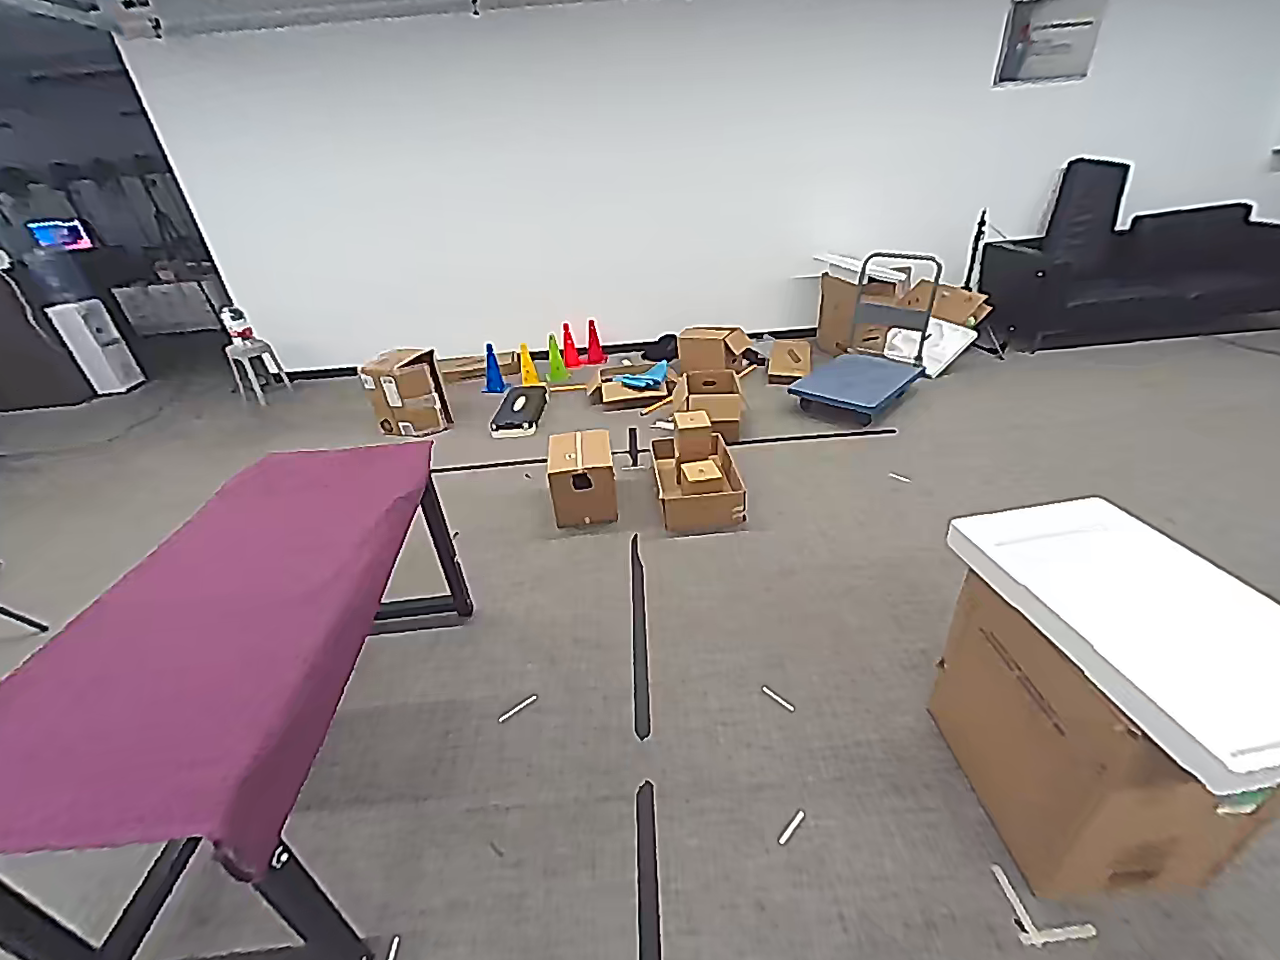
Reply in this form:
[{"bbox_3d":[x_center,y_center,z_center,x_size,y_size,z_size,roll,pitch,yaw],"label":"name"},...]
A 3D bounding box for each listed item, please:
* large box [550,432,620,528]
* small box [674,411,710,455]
[{"bbox_3d":[-0.283,-0.007,2.759,0.320,0.320,0.408,-8,32,-4],"label":"large box"},{"bbox_3d":[0.267,-0.235,2.779,0.168,0.176,0.179,-5,33,-3],"label":"small box"}]
